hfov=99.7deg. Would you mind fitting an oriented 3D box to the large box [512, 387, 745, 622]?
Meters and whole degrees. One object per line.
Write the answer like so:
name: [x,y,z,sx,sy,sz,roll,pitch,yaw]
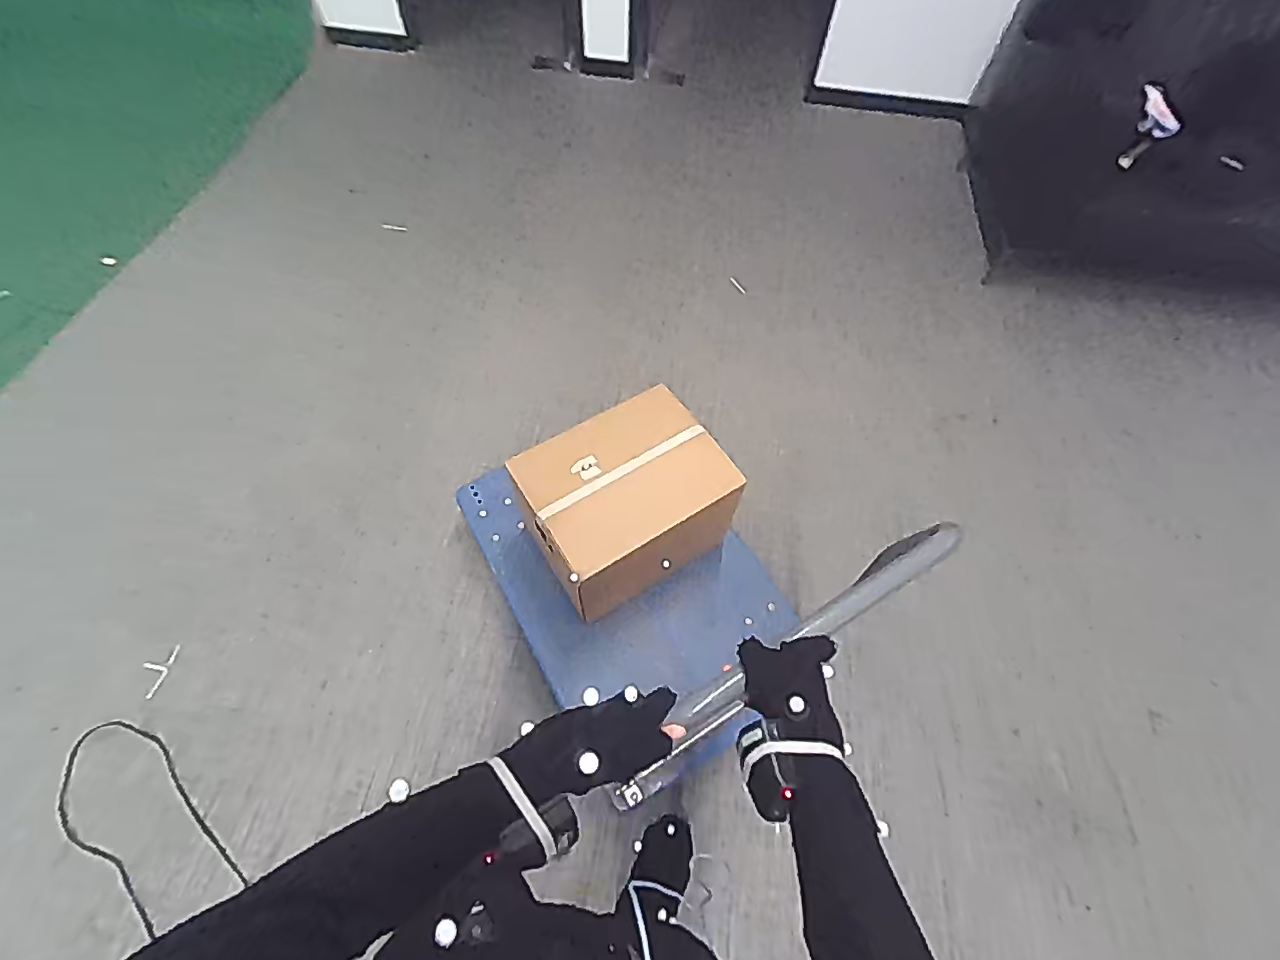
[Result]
large box: [-0.026,0.062,1.255,0.408,0.320,0.320,-31,65,-17]
